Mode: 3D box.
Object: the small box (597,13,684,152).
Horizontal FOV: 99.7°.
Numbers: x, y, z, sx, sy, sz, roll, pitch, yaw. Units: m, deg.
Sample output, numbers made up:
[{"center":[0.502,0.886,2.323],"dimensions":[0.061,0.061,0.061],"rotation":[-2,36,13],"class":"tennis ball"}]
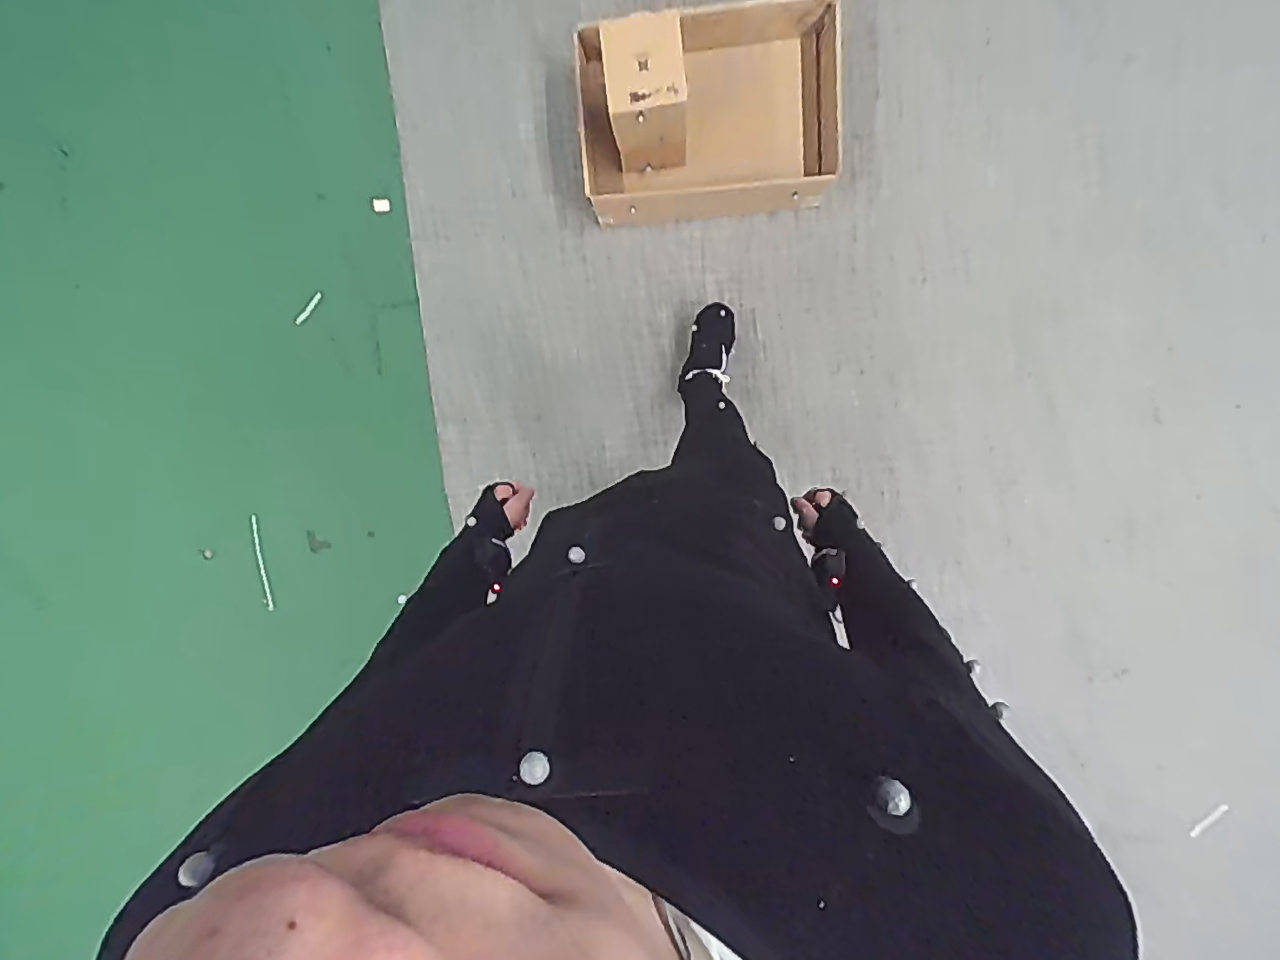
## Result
[{"center":[0.006,-0.850,1.173],"dimensions":[0.168,0.176,0.179],"rotation":[-6,98,5],"class":"small box"}]
